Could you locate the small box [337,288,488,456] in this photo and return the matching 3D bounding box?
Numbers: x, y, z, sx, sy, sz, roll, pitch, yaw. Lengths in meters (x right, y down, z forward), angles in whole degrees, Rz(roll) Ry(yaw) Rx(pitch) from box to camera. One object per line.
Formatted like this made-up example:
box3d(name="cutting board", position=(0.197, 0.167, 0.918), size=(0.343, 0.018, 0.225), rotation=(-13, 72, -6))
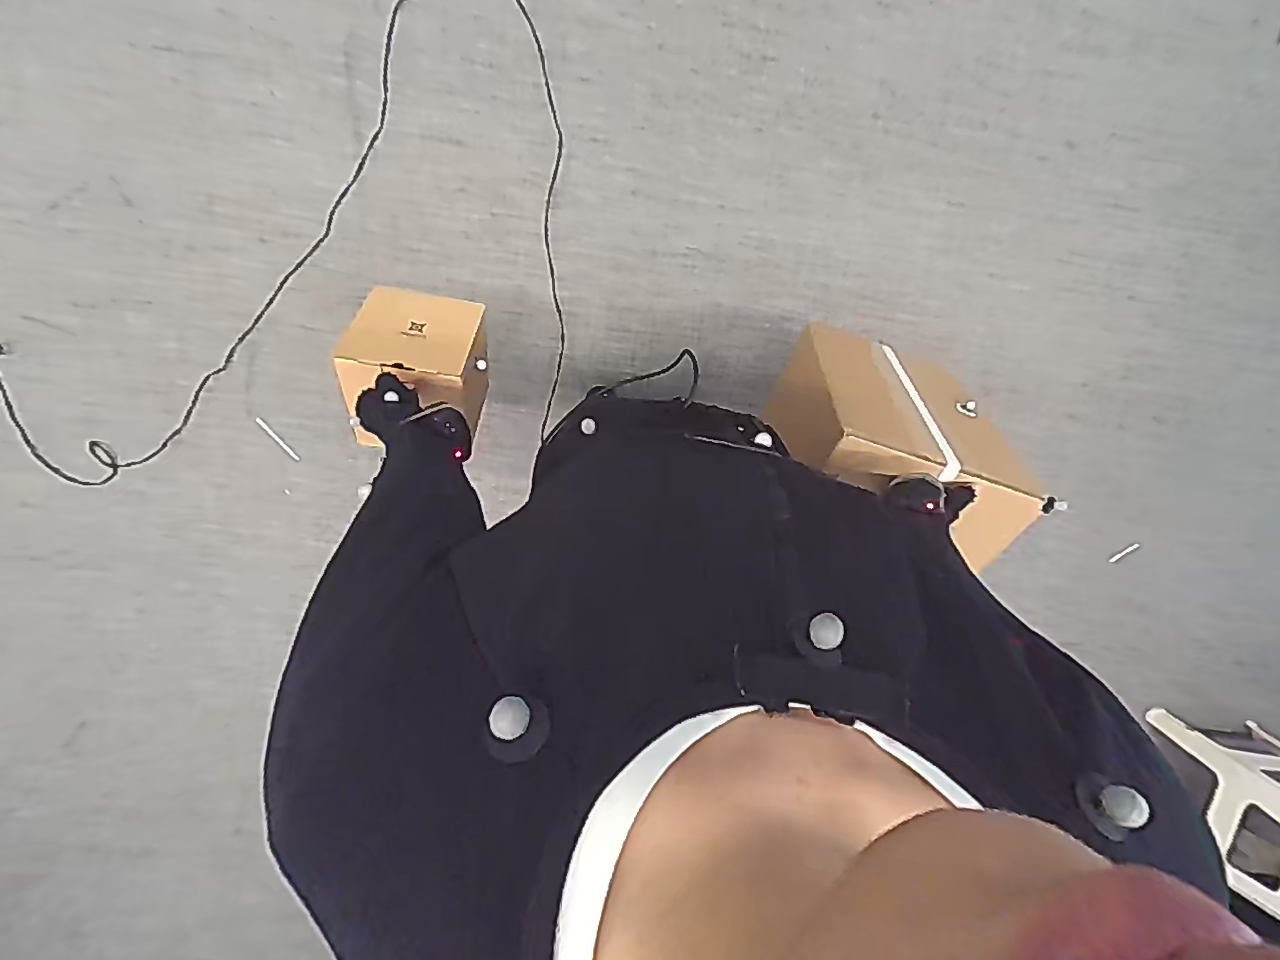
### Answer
box3d(name="small box", position=(-0.335, -0.163, 0.834), size=(0.168, 0.179, 0.176), rotation=(8, 140, -8))
